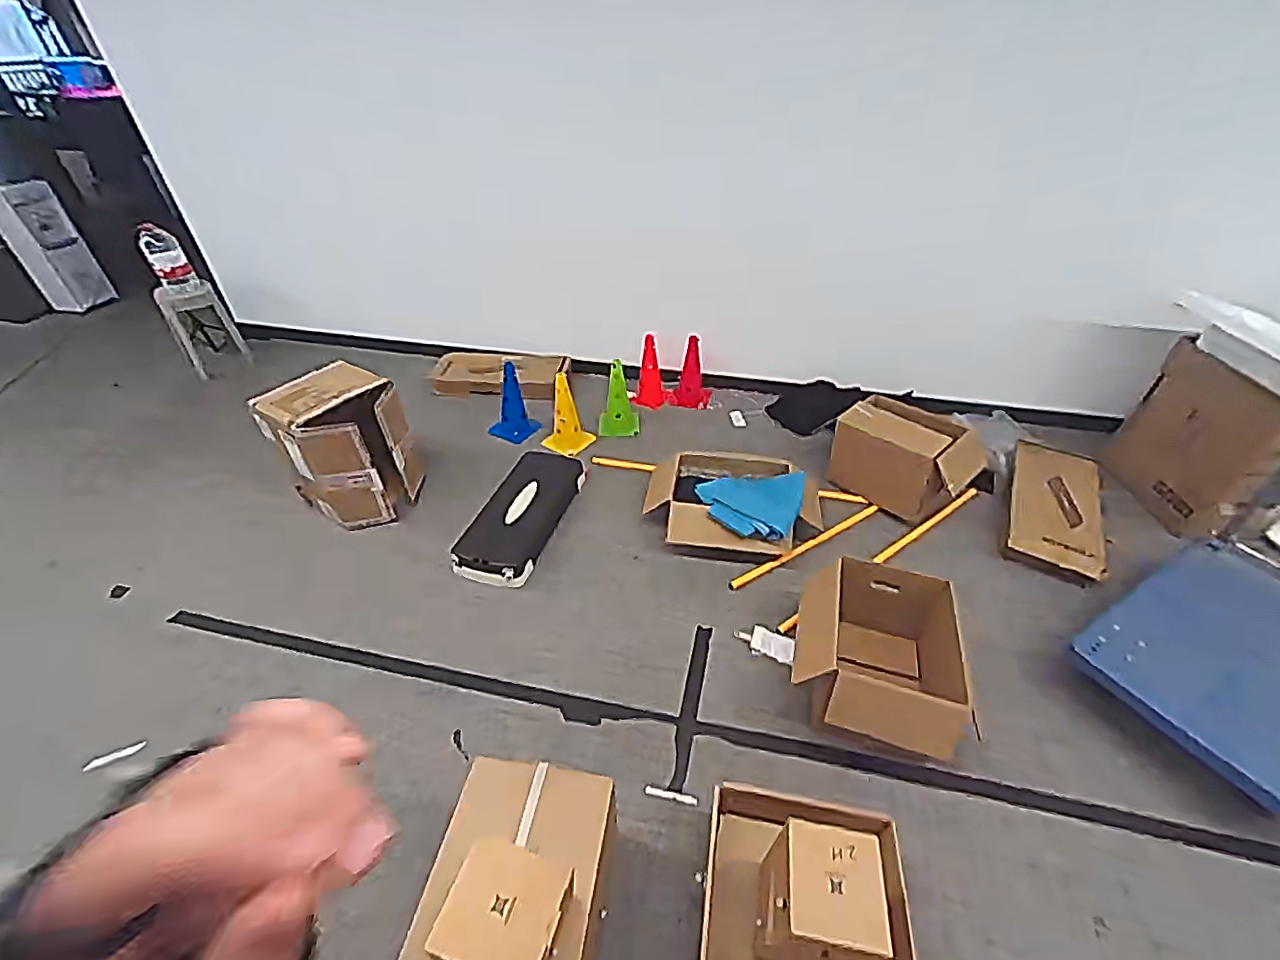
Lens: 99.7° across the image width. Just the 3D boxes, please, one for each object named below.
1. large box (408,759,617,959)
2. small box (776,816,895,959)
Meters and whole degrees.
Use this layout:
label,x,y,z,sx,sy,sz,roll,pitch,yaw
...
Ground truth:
label,x,y,z,sx,sy,sz,roll,pitch,yaw
large box,-0.228,0.858,1.109,0.320,0.320,0.408,5,41,7
small box,0.349,0.760,0.998,0.168,0.176,0.179,8,42,7
